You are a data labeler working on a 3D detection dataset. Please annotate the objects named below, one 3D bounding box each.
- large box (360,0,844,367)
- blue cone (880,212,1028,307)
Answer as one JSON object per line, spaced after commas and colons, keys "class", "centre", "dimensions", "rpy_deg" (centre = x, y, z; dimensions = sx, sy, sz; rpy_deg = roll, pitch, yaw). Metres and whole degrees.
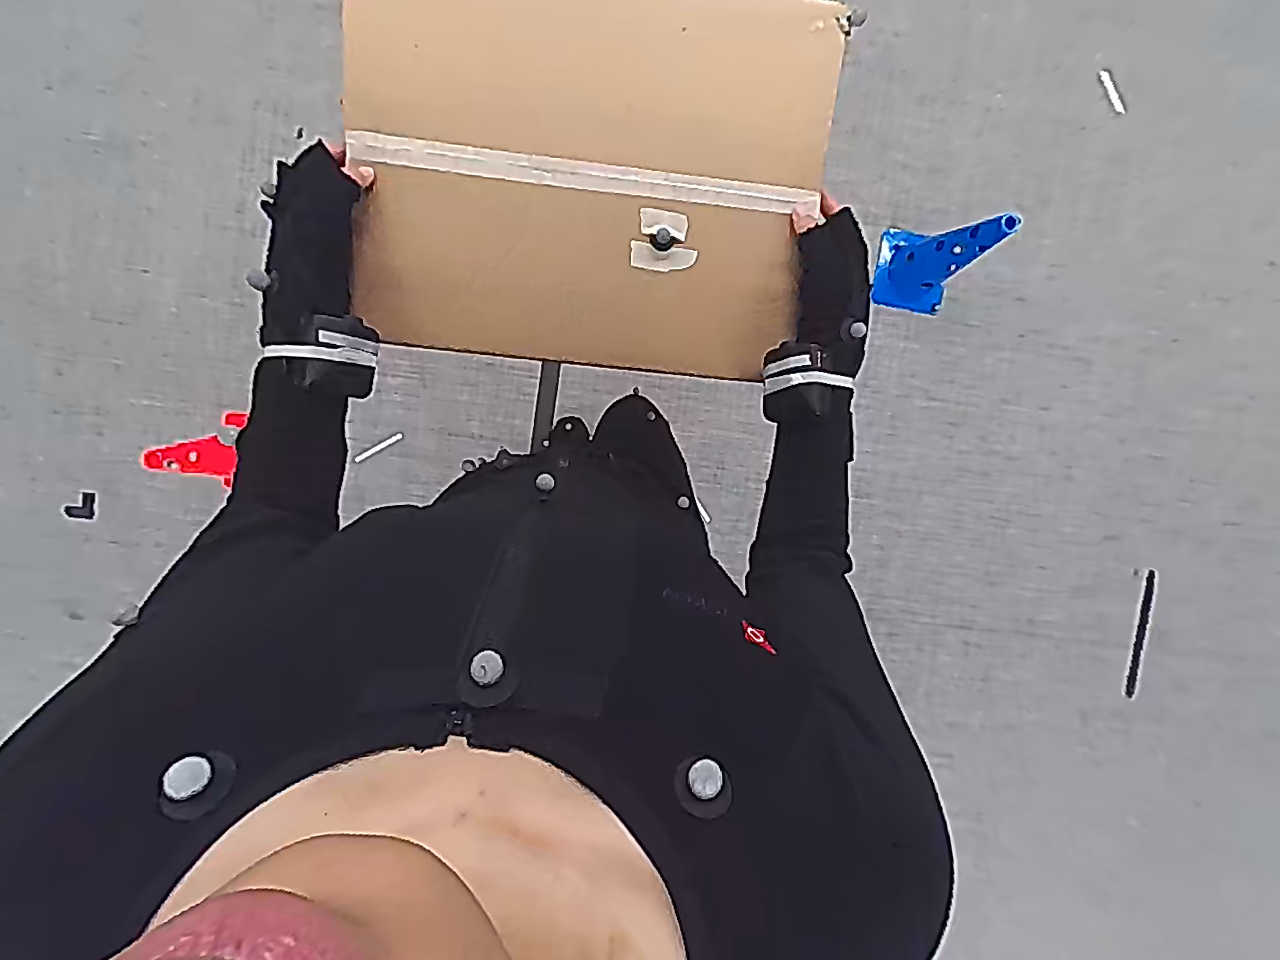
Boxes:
{"class": "large box", "centre": [-0.049, -0.303, 0.614], "dimensions": [0.408, 0.320, 0.320], "rpy_deg": [5, 103, -6]}
{"class": "blue cone", "centre": [0.767, -0.561, 1.308], "dimensions": [0.192, 0.380, 0.193], "rpy_deg": [11, 95, -6]}
